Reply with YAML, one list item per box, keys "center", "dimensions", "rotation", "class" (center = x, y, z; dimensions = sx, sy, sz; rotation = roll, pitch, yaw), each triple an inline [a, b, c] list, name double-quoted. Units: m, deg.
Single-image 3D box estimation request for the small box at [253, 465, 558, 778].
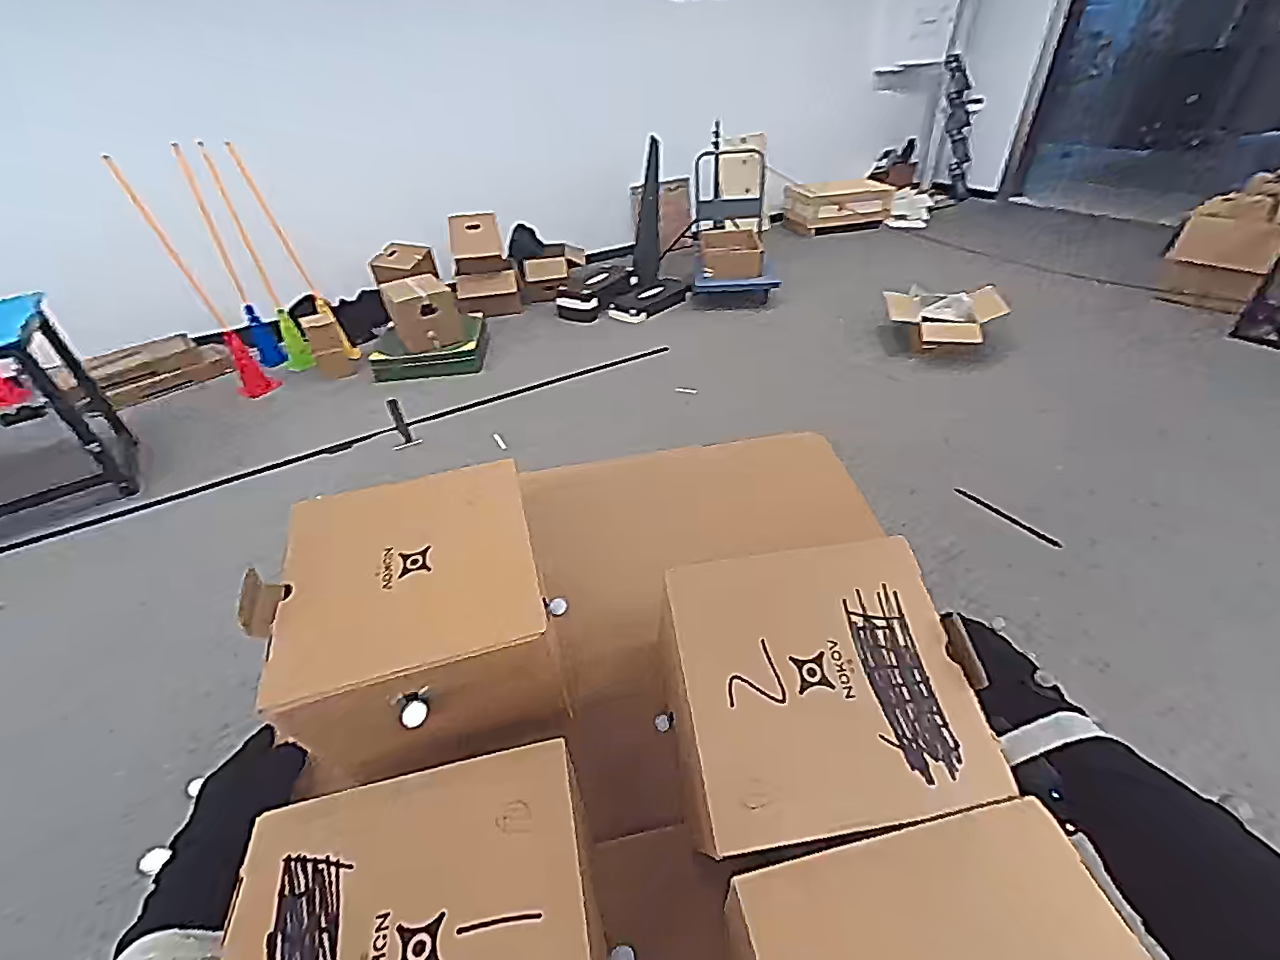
- center: [-0.170, 0.117, 0.447]
  dimensions: [0.179, 0.176, 0.168]
  rotation: [-14, 49, -10]
  class: "small box"
